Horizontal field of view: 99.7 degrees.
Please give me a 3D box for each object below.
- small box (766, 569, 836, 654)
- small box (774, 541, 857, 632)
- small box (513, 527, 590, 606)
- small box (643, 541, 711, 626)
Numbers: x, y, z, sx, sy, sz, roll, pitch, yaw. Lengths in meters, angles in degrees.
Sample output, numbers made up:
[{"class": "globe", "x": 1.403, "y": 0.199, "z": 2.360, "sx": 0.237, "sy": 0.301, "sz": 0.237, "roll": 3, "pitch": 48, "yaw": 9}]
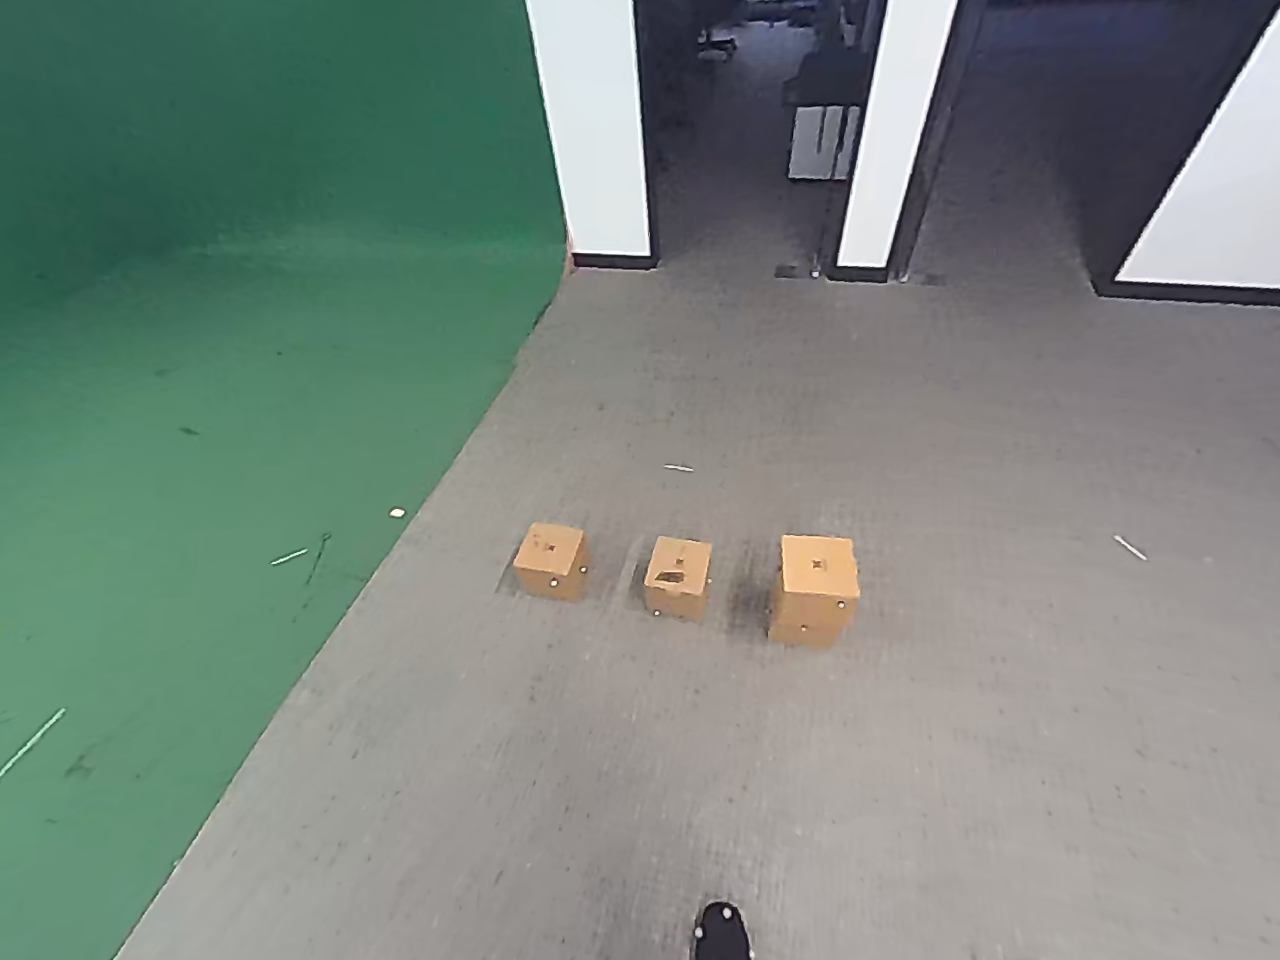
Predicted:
[{"class": "small box", "x": 0.452, "y": 0.369, "z": 1.510, "sx": 0.179, "sy": 0.176, "sz": 0.168, "roll": 7, "pitch": 50, "yaw": 11}, {"class": "small box", "x": 0.438, "y": 0.273, "z": 1.379, "sx": 0.179, "sy": 0.176, "sz": 0.168, "roll": 3, "pitch": 49, "yaw": 8}, {"class": "small box", "x": -0.265, "y": 0.271, "z": 1.676, "sx": 0.179, "sy": 0.176, "sz": 0.168, "roll": 8, "pitch": 49, "yaw": 13}, {"class": "small box", "x": 0.115, "y": 0.308, "z": 1.600, "sx": 0.168, "sy": 0.176, "sz": 0.179, "roll": 8, "pitch": 49, "yaw": 13}]
